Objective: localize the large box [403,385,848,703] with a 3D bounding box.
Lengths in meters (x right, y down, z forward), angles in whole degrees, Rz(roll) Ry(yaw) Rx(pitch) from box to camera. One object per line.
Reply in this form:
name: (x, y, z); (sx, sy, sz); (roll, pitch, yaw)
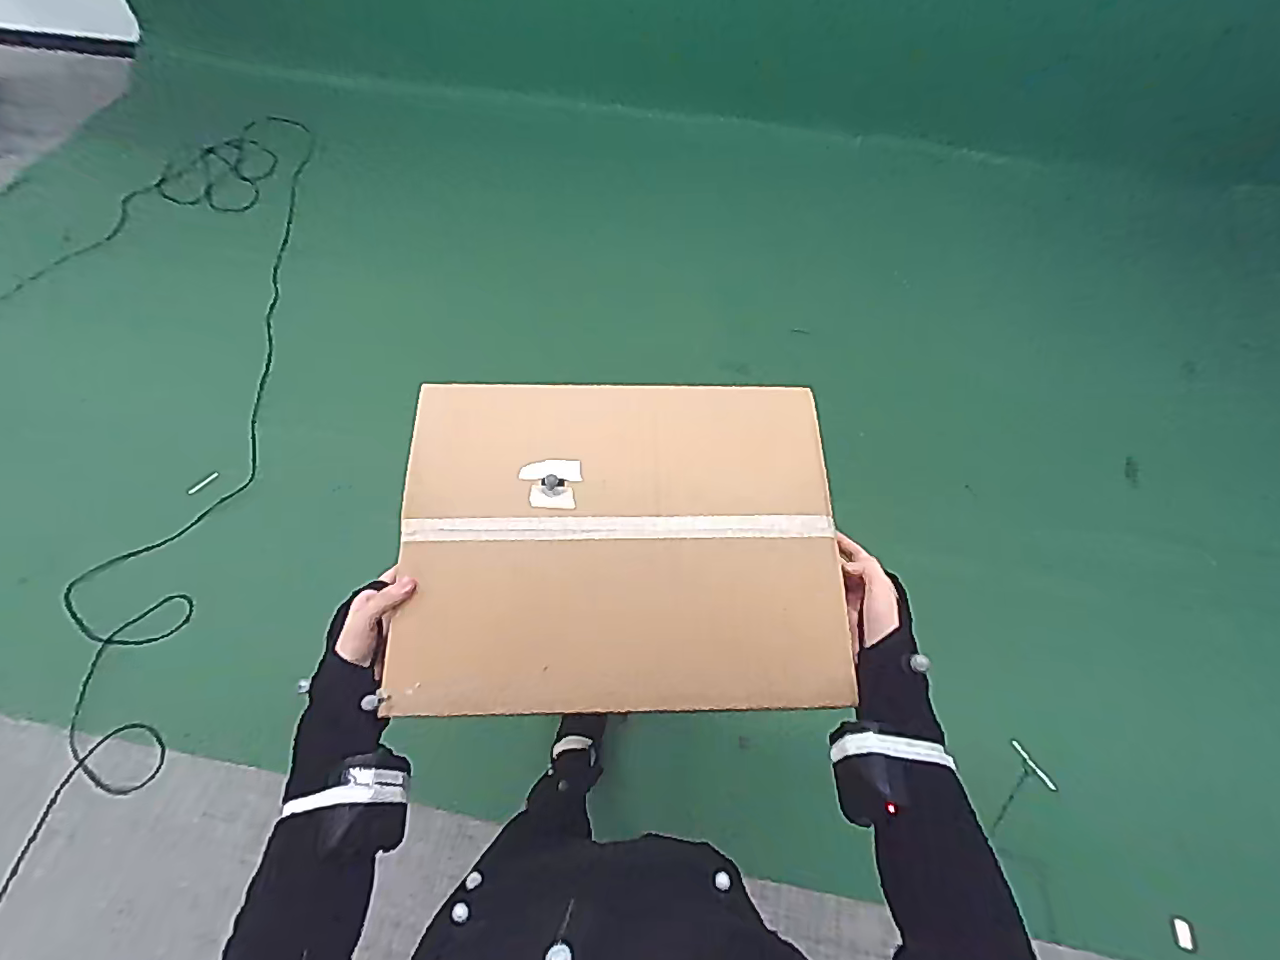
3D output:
large box: (-0.016, 0.096, 0.667); (0.408, 0.320, 0.320); (0, 69, -1)
